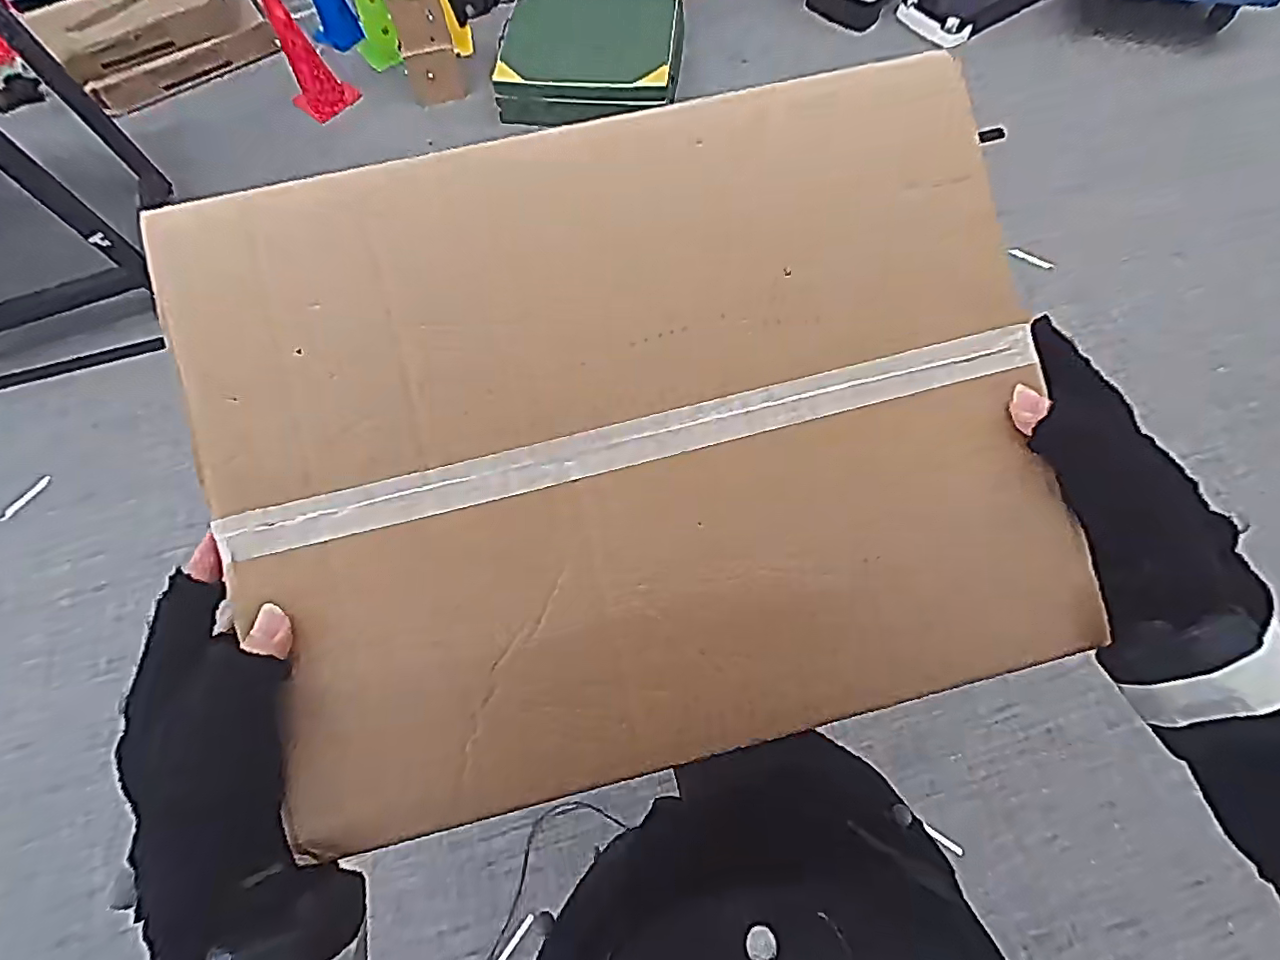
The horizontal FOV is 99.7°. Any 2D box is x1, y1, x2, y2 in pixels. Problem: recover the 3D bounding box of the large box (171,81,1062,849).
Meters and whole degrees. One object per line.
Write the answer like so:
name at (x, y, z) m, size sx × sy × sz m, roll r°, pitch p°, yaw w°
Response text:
large box at (-0.009, -0.015, 0.422) m, size 0.408 × 0.320 × 0.320 m, roll -14°, pitch 89°, yaw -4°
